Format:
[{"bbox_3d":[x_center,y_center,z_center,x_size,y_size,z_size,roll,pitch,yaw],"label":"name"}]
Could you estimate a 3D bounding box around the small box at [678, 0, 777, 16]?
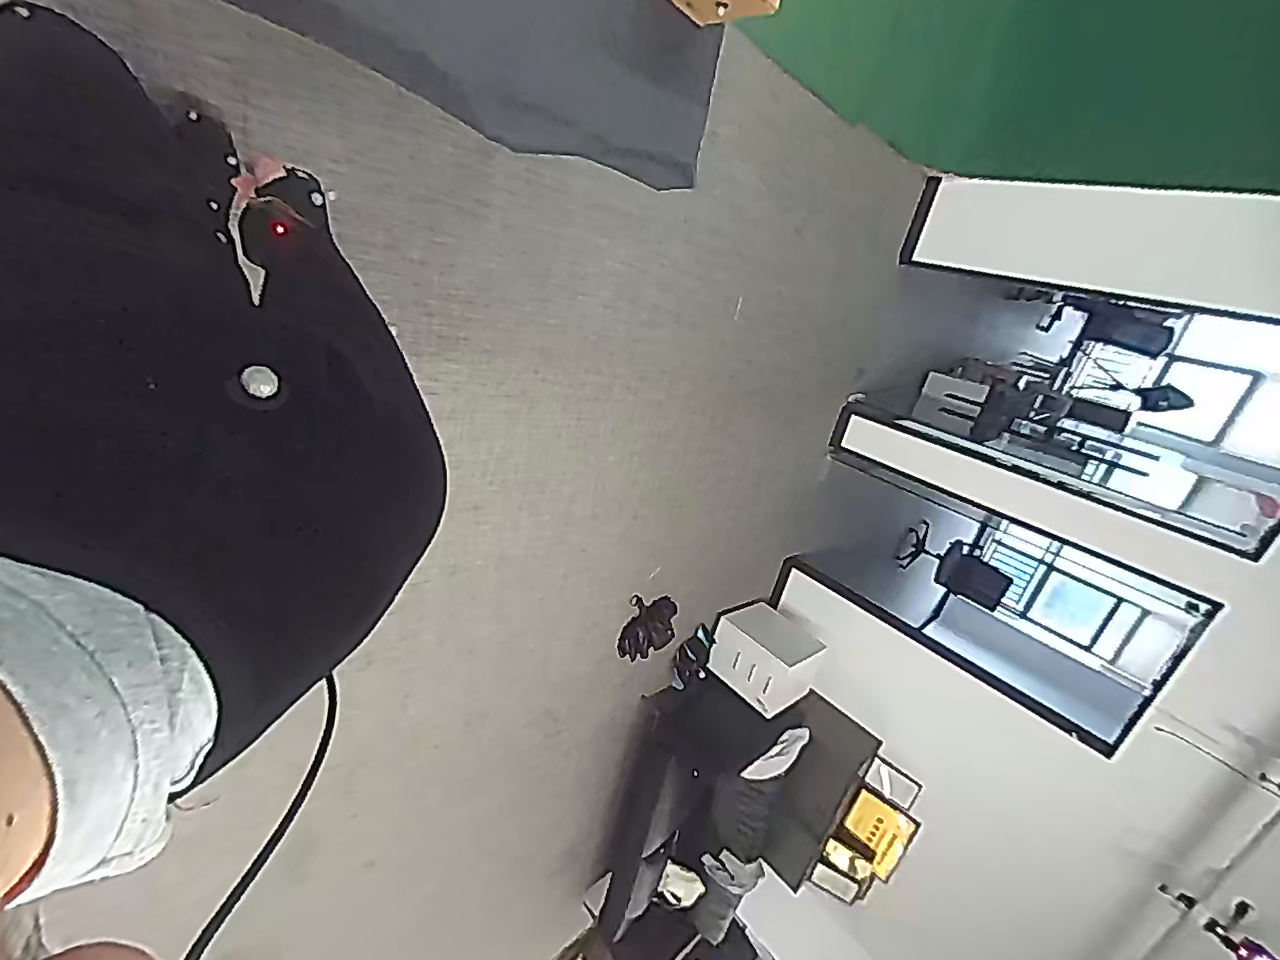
[{"bbox_3d":[0.115,-0.830,0.794,0.168,0.176,0.179,-6,117,-46],"label":"small box"}]
